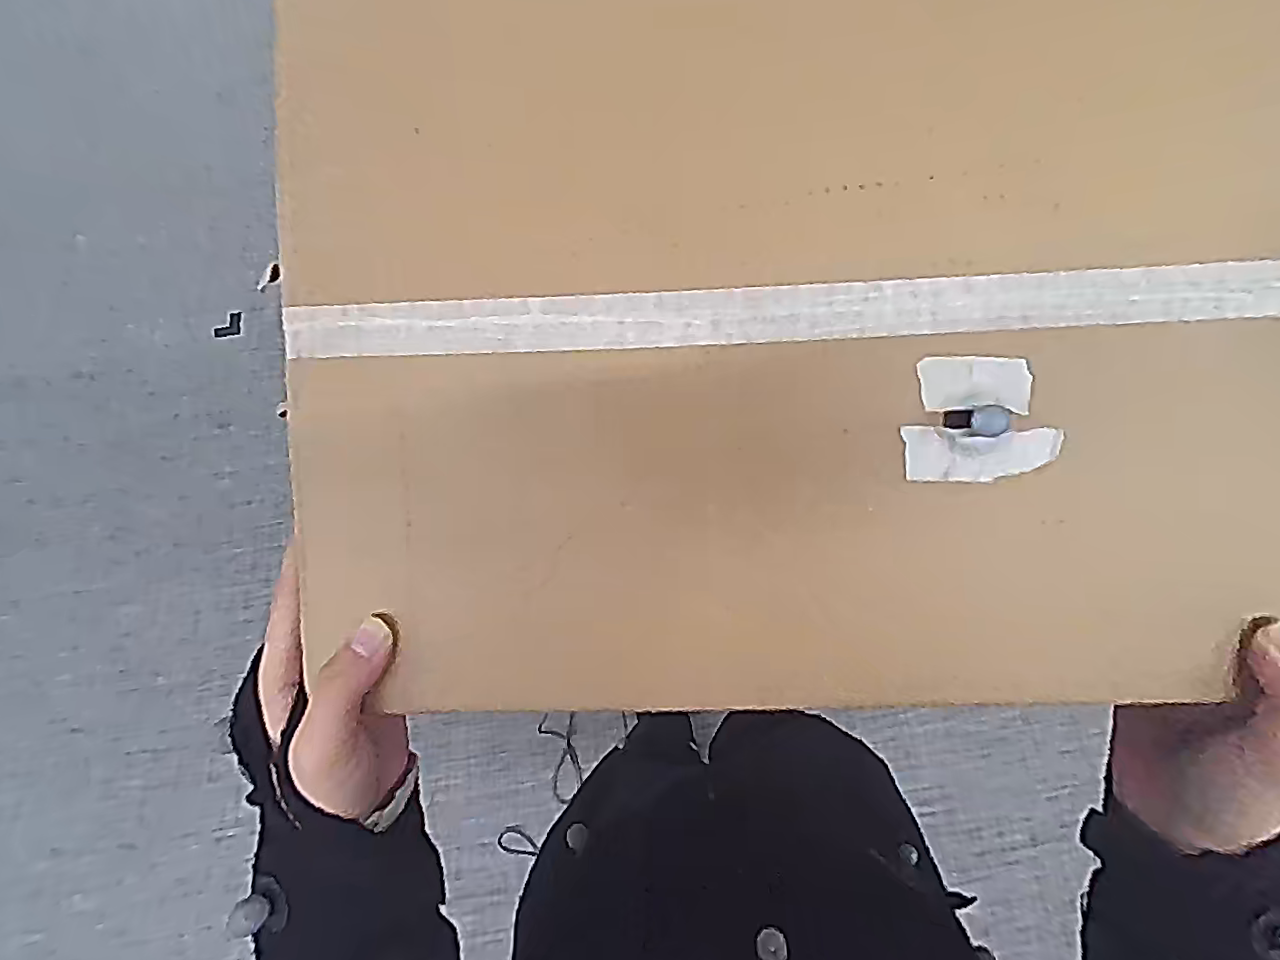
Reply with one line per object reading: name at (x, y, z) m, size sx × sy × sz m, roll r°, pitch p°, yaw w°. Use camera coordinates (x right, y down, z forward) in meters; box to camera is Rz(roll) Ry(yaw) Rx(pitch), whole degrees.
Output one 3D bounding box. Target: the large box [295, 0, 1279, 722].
large box at (0.060, -0.061, 0.373) m, size 0.408 × 0.320 × 0.320 m, roll -3°, pitch 91°, yaw 1°
